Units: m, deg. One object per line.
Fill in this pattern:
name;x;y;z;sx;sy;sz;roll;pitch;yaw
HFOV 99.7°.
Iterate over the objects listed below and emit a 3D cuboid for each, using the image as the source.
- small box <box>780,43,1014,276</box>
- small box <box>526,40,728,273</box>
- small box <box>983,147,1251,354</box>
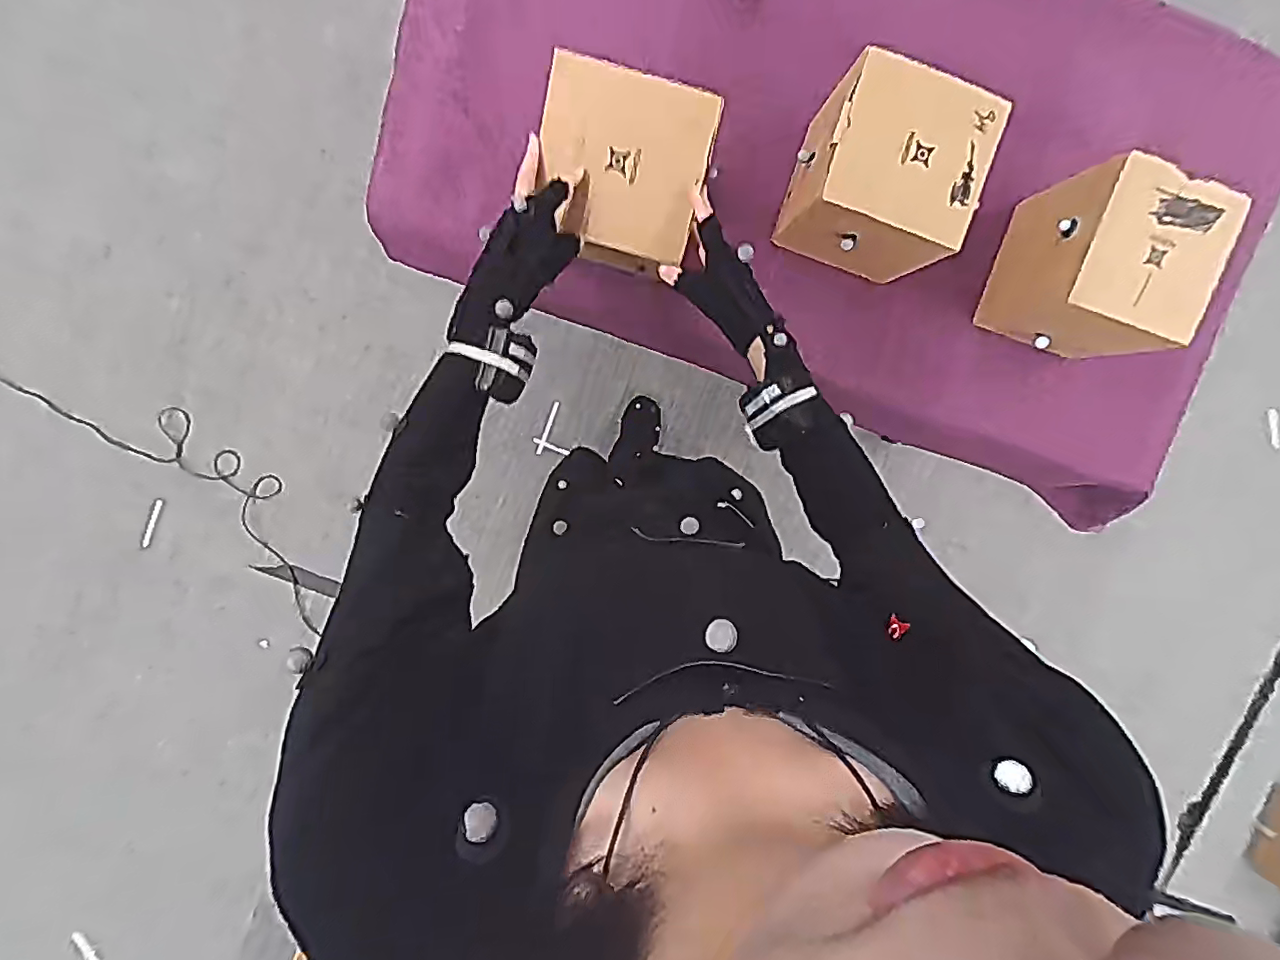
small box;0.295;-0.370;0.664;0.179;0.176;0.168;17;96;-5
small box;-0.016;-0.351;0.627;0.179;0.176;0.168;14;101;-3
small box;0.589;-0.275;0.695;0.168;0.176;0.179;17;96;-5
